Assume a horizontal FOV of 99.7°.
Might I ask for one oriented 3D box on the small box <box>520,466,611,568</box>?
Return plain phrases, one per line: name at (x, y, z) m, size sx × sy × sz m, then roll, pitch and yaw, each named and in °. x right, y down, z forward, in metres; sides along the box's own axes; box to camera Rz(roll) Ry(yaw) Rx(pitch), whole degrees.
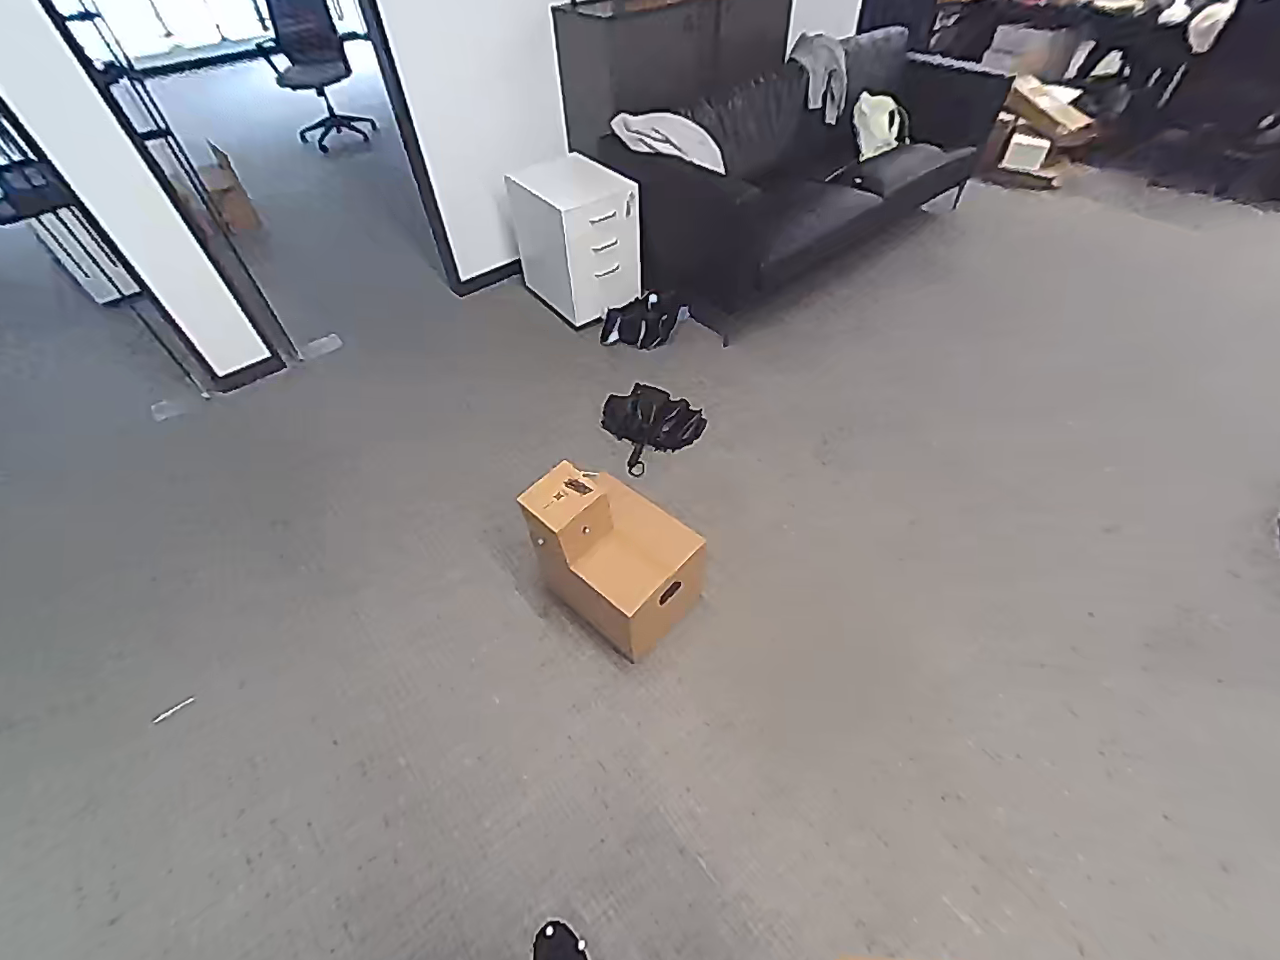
small box at (-0.193, 0.100, 1.464) m, size 0.168 × 0.176 × 0.179 m, roll 35°, pitch 63°, yaw 29°
